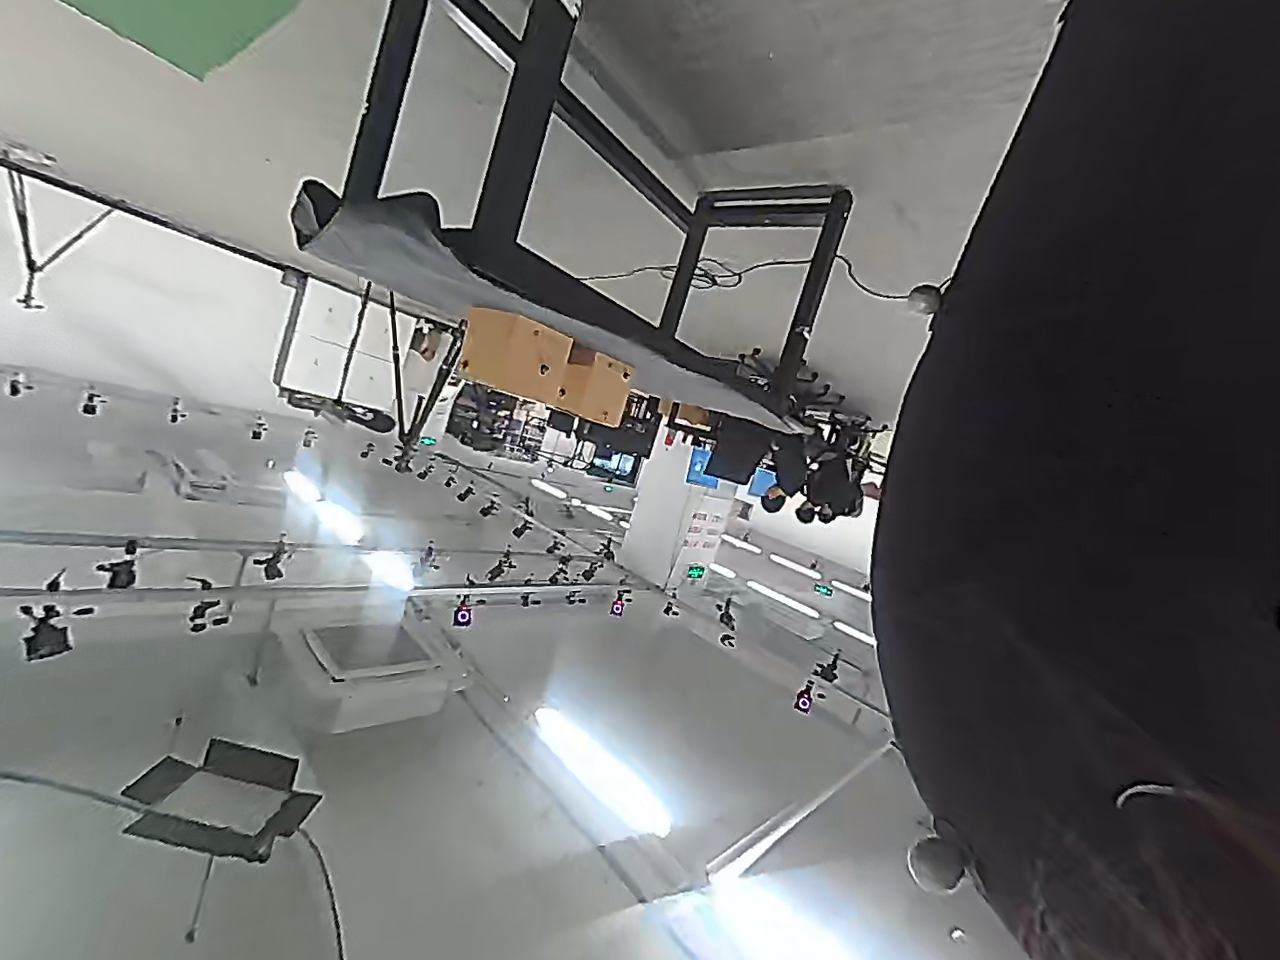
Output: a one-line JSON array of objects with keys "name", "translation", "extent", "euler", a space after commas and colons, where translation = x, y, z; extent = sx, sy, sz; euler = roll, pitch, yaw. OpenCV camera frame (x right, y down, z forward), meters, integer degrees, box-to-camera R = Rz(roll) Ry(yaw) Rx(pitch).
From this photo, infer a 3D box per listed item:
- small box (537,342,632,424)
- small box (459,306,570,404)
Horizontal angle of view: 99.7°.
[{"name": "small box", "translation": [-0.139, -0.260, 1.430], "extent": [0.179, 0.176, 0.168], "euler": [21, -173, 36]}, {"name": "small box", "translation": [-0.279, -0.285, 1.227], "extent": [0.179, 0.176, 0.168], "euler": [22, -173, 38]}]
